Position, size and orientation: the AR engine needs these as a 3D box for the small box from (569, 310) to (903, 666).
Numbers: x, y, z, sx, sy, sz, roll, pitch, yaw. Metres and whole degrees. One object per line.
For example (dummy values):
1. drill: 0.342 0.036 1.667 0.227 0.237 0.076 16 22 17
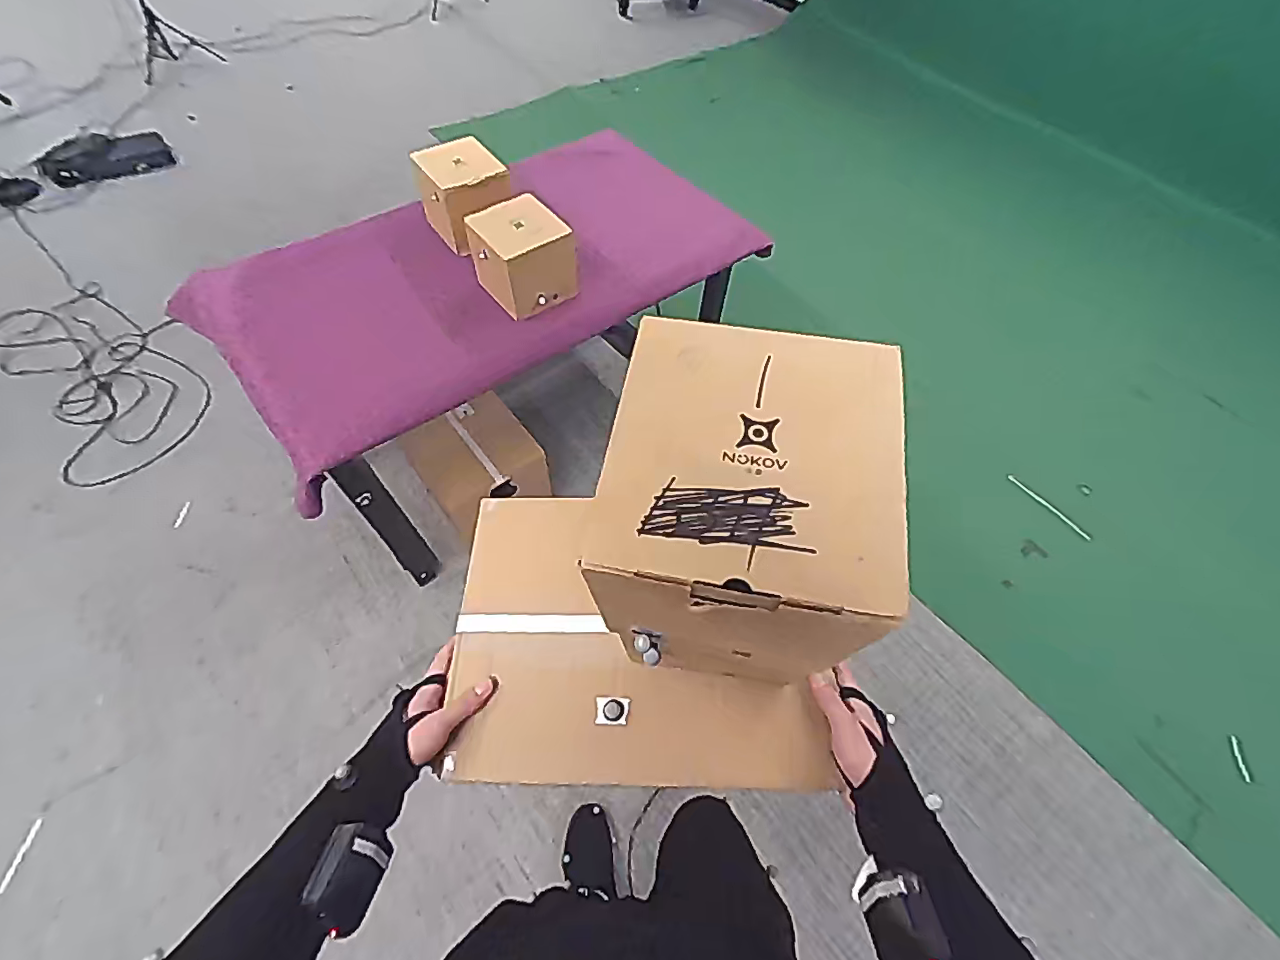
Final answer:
1. small box: 0.064 0.016 0.369 0.168 0.176 0.179 9 63 8

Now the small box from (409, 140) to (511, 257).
1. small box: -0.423 -0.675 1.304 0.168 0.176 0.179 -32 66 -21

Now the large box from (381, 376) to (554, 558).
1. large box: -0.518 -0.039 1.682 0.320 0.320 0.408 -34 65 -22

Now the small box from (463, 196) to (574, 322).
1. small box: -0.261 -0.483 1.192 0.168 0.176 0.179 -33 65 -20
